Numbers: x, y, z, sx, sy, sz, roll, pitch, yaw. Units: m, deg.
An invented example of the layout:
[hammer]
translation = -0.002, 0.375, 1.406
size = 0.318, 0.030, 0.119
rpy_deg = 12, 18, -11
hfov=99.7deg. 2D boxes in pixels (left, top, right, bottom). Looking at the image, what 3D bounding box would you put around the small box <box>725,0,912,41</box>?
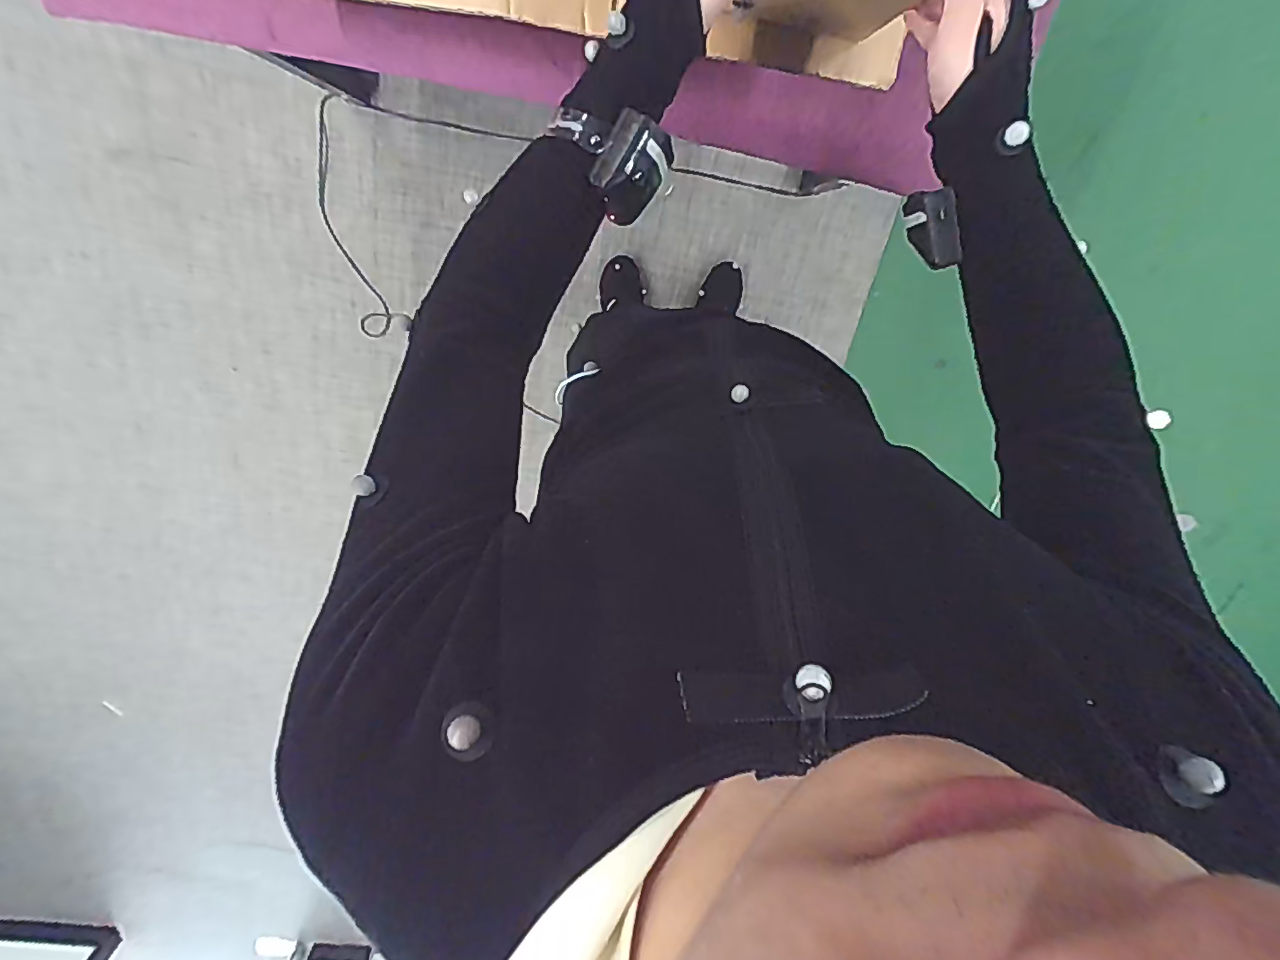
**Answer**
[small box]
translation = 0.161, -0.483, 0.421
size = 0.168, 0.176, 0.179
rpy_deg = 7, 114, -7
